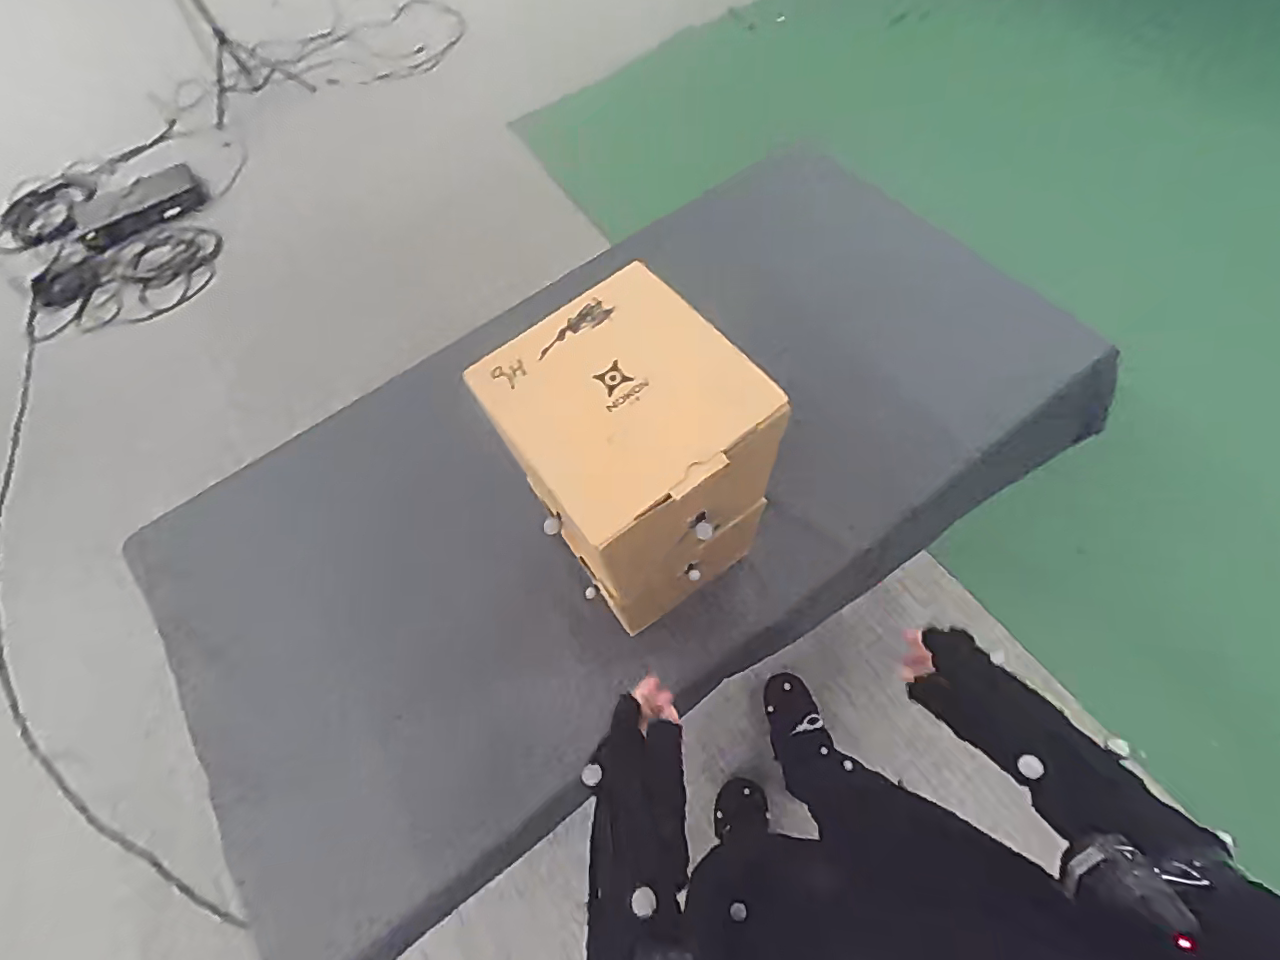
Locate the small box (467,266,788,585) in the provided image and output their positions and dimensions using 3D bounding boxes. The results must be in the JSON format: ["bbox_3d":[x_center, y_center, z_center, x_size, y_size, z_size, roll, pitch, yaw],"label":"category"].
[{"bbox_3d":[-0.006,-0.030,0.454,0.168,0.176,0.179,-36,68,-11],"label":"small box"}]

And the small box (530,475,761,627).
[{"bbox_3d":[0.009,0.040,0.600,0.179,0.176,0.168,-34,68,-11],"label":"small box"}]
